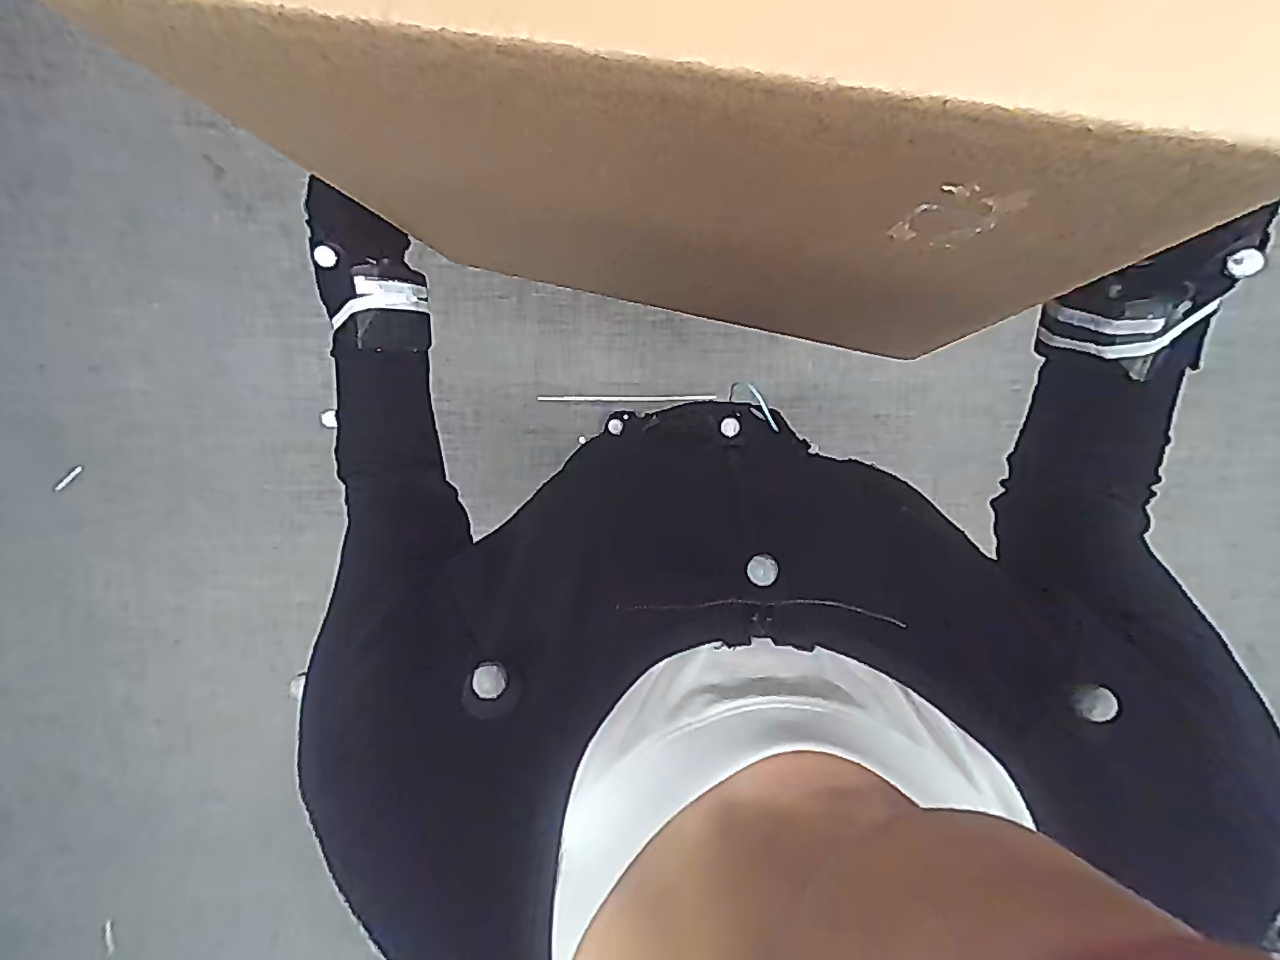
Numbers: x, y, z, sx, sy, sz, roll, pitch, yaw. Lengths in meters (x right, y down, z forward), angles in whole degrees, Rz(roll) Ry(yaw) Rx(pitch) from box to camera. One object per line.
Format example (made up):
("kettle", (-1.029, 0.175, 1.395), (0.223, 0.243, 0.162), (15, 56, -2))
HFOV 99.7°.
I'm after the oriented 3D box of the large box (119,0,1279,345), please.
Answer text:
("large box", (0.039, -0.289, 0.290), (0.408, 0.320, 0.320), (15, 96, 7))
